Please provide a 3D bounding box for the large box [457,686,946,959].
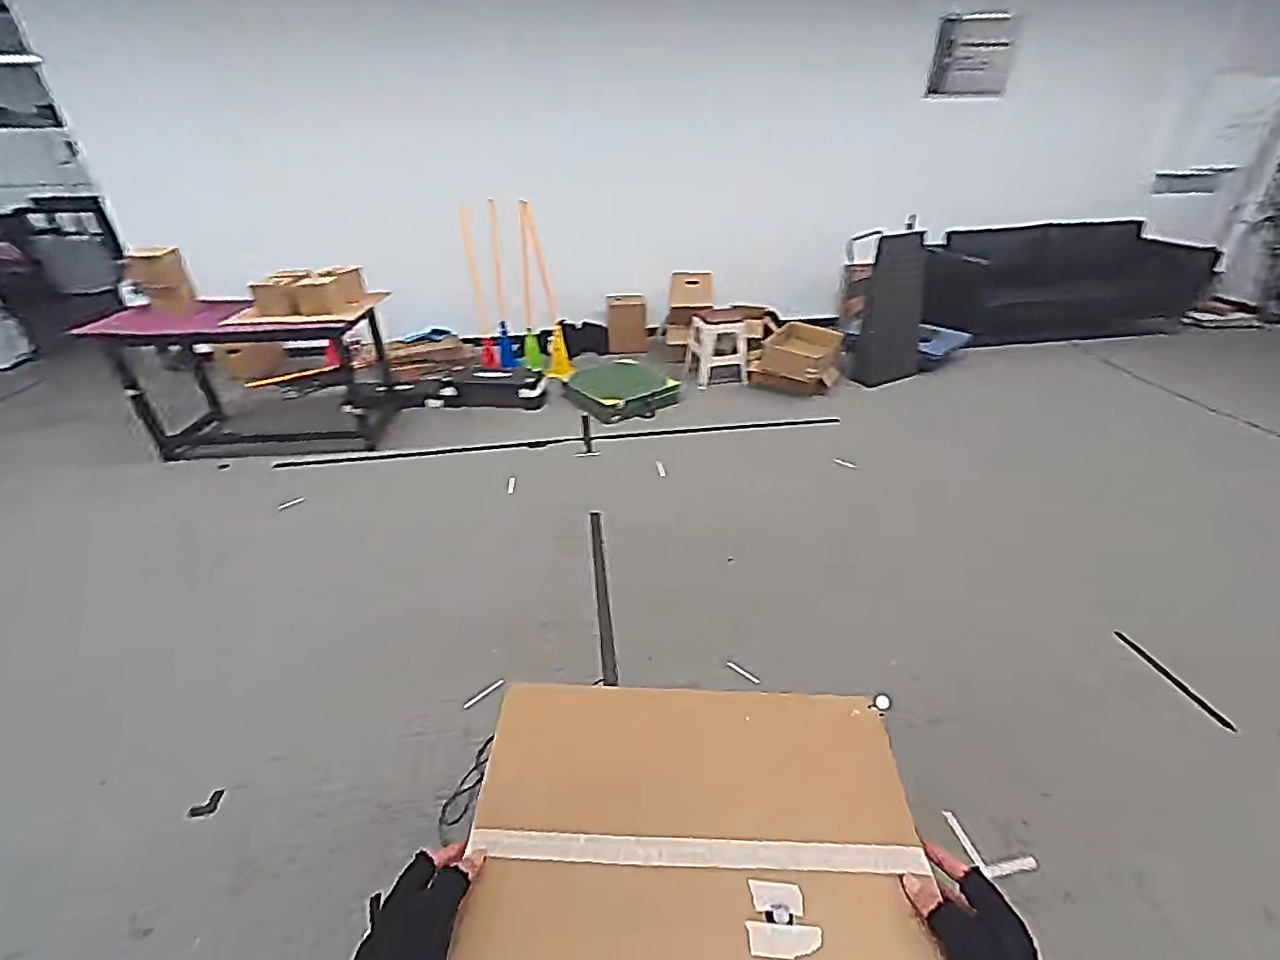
[{"bbox_3d":[0.049,0.451,0.589,0.408,0.320,0.320,2,40,1],"label":"large box"}]
